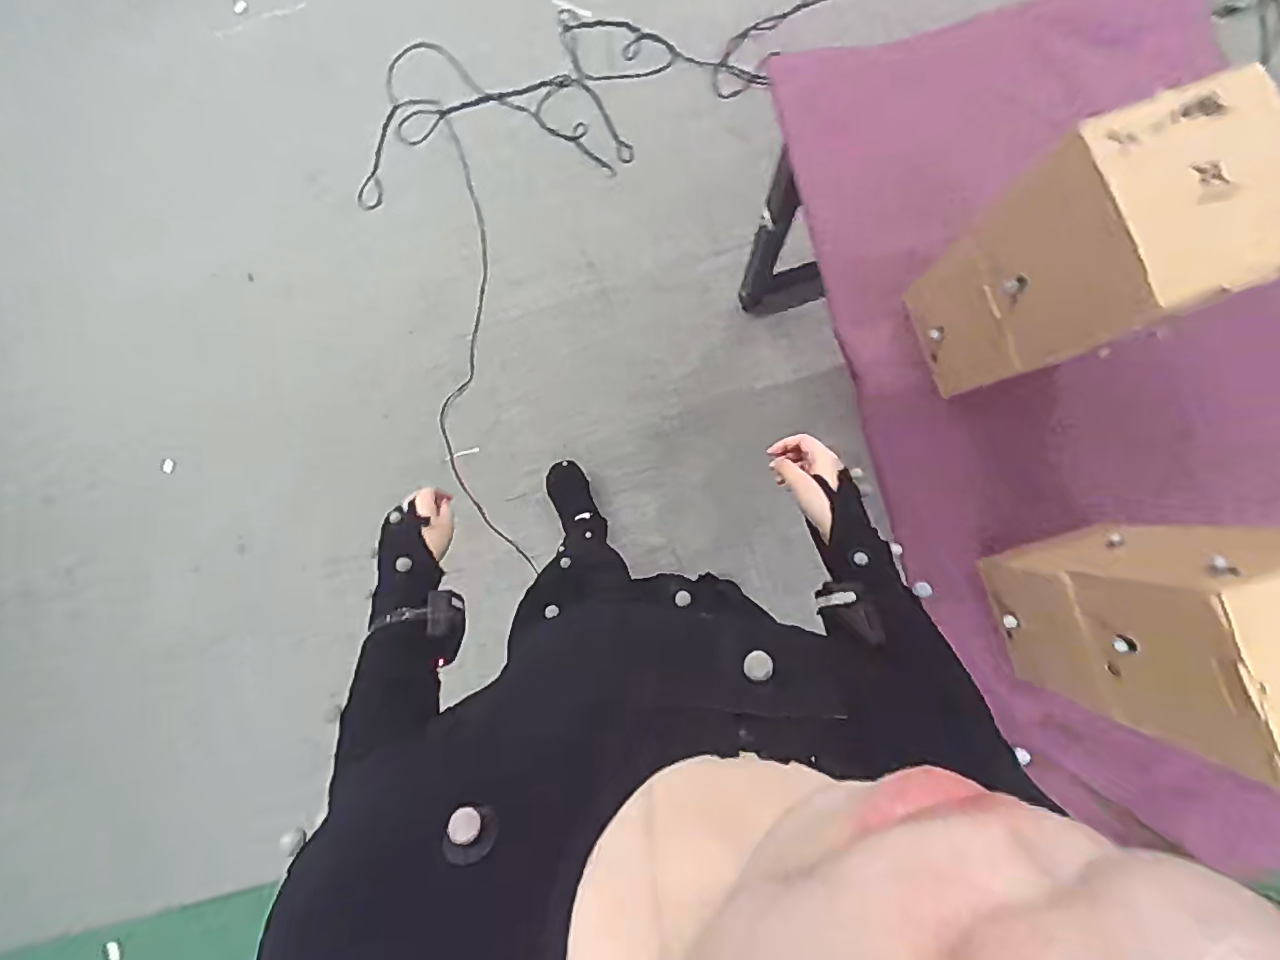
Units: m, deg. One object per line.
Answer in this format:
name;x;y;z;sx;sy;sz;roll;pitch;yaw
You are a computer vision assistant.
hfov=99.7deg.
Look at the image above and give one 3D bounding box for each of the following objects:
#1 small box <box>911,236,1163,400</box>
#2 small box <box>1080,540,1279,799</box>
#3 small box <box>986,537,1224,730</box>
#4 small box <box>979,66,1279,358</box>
small box;0.486;-0.217;0.685;0.179;0.176;0.168;-18;84;1
small box;0.564;0.154;0.488;0.179;0.176;0.168;-17;84;2
small box;0.569;0.168;0.650;0.179;0.176;0.168;-17;84;2
small box;0.476;-0.232;0.522;0.168;0.176;0.179;-18;85;0
